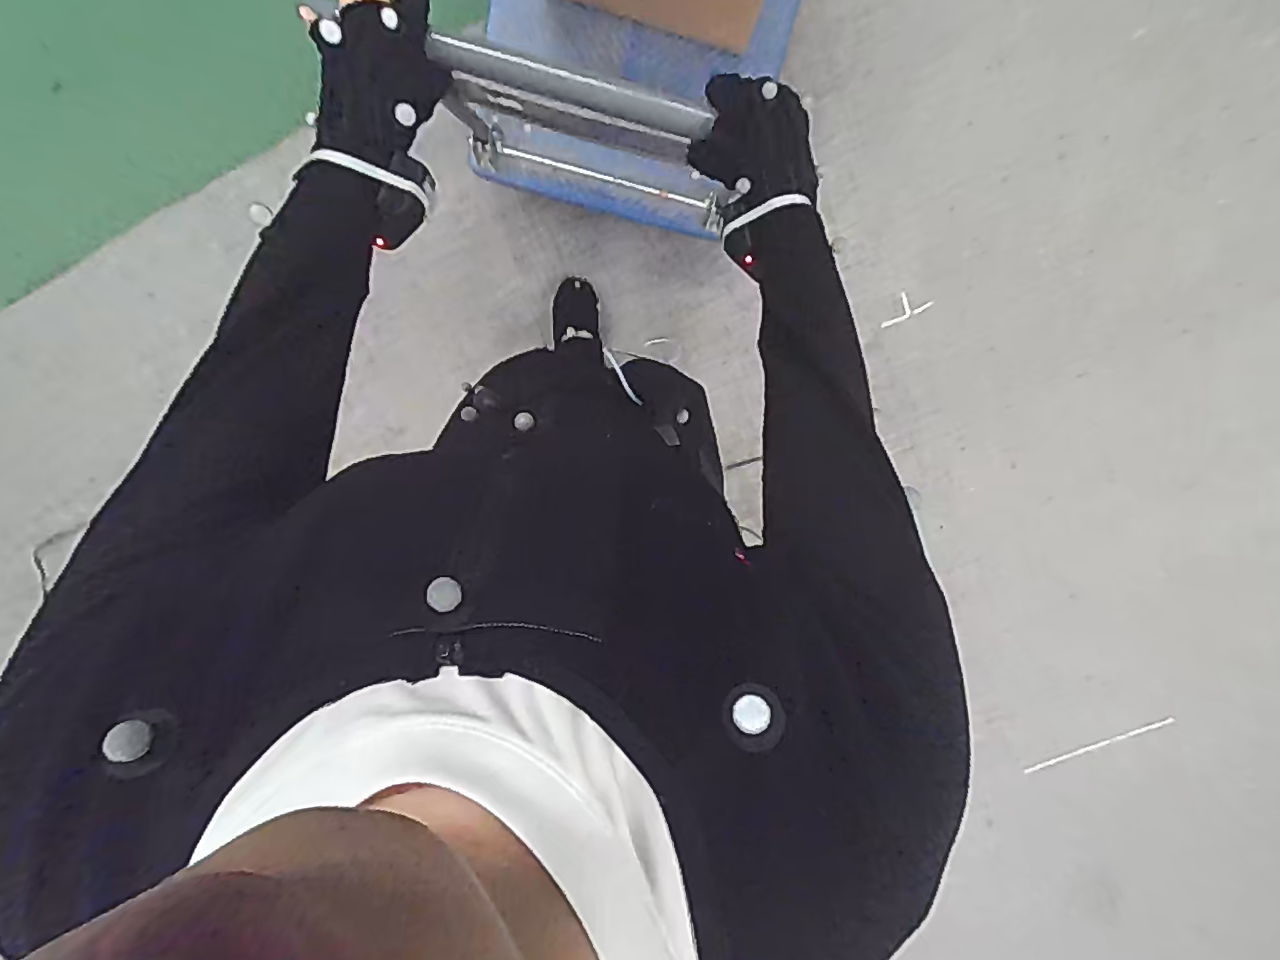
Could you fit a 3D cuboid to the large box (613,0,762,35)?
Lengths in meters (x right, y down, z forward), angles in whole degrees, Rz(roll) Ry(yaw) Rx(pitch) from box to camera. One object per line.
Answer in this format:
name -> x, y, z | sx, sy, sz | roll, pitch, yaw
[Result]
large box -> 0.049, -0.997, 0.851 | 0.408, 0.320, 0.320 | 15, 105, -3
